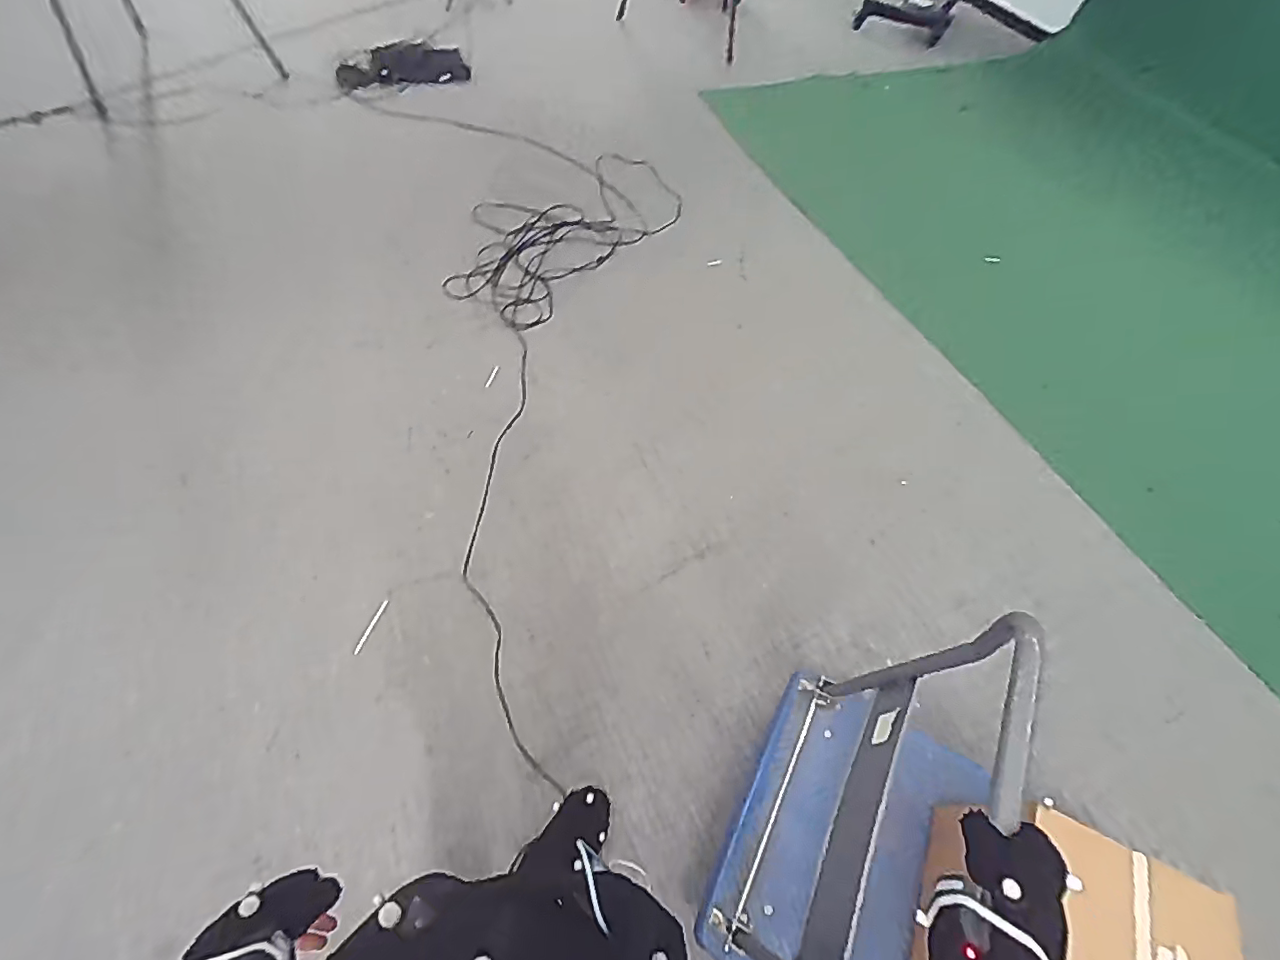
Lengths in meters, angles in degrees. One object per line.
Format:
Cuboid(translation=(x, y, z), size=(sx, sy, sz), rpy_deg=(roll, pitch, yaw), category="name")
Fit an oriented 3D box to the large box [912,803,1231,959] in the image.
Cuboid(translation=(0.679, 0.820, 0.890), size=(0.320, 0.320, 0.408), rpy_deg=(26, 58, 8), category="large box")
